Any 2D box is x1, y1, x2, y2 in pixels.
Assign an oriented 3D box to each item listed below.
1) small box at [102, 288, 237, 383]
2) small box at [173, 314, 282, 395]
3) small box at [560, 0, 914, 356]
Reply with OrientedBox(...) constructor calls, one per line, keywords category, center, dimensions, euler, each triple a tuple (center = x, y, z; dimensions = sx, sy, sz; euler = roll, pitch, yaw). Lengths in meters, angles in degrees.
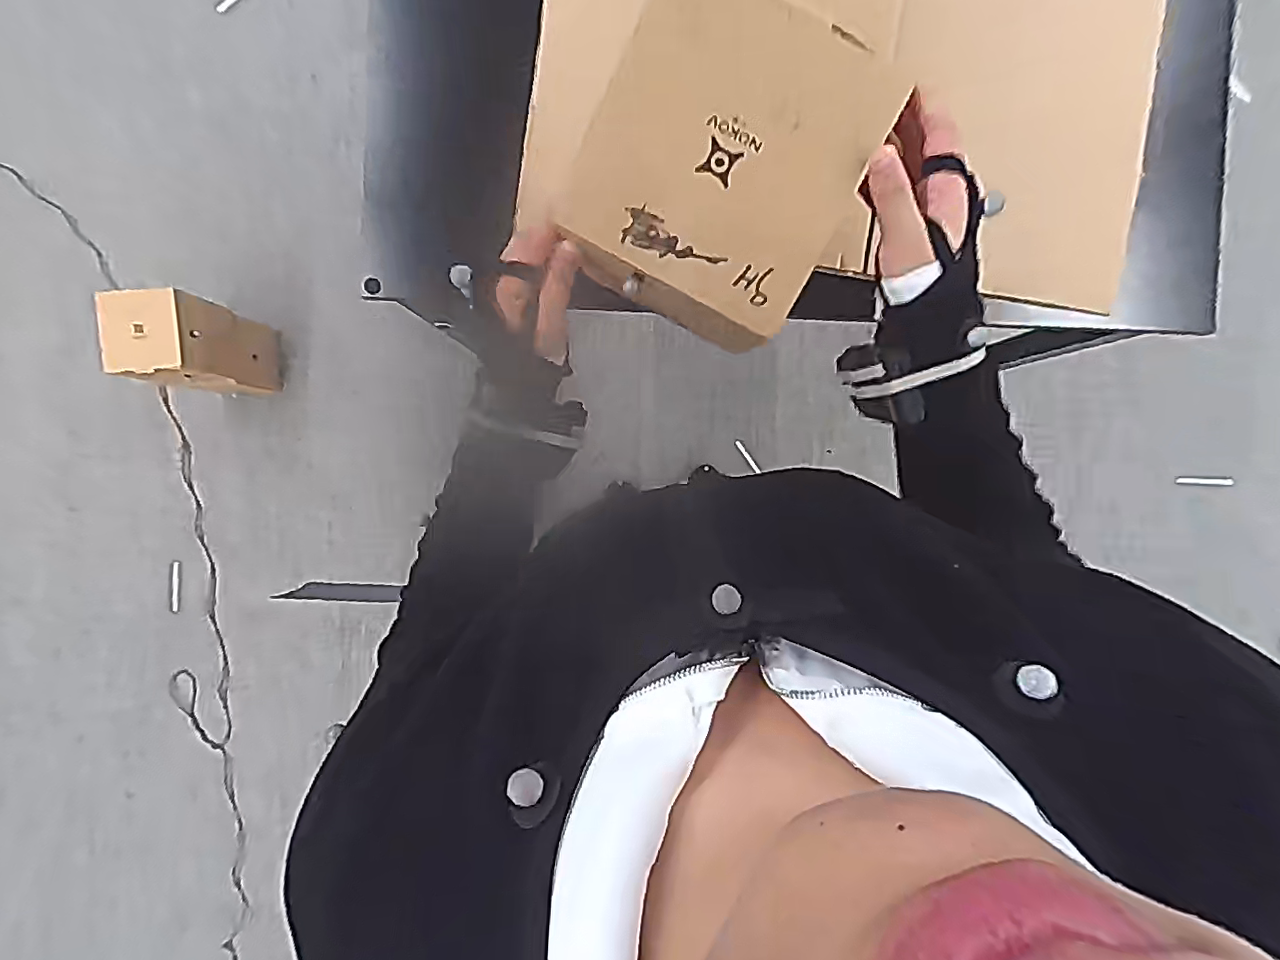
OrientedBox(category="small box", center=(-1.063, -0.322, 1.237), dimensions=(0.168, 0.176, 0.179), euler=(-5, 90, -1))
OrientedBox(category="small box", center=(-1.063, -0.320, 1.399), dimensions=(0.168, 0.176, 0.179), euler=(-2, 92, 0))
OrientedBox(category="small box", center=(0.060, -0.214, 0.418), dimensions=(0.168, 0.176, 0.179), euler=(29, 99, -2))
